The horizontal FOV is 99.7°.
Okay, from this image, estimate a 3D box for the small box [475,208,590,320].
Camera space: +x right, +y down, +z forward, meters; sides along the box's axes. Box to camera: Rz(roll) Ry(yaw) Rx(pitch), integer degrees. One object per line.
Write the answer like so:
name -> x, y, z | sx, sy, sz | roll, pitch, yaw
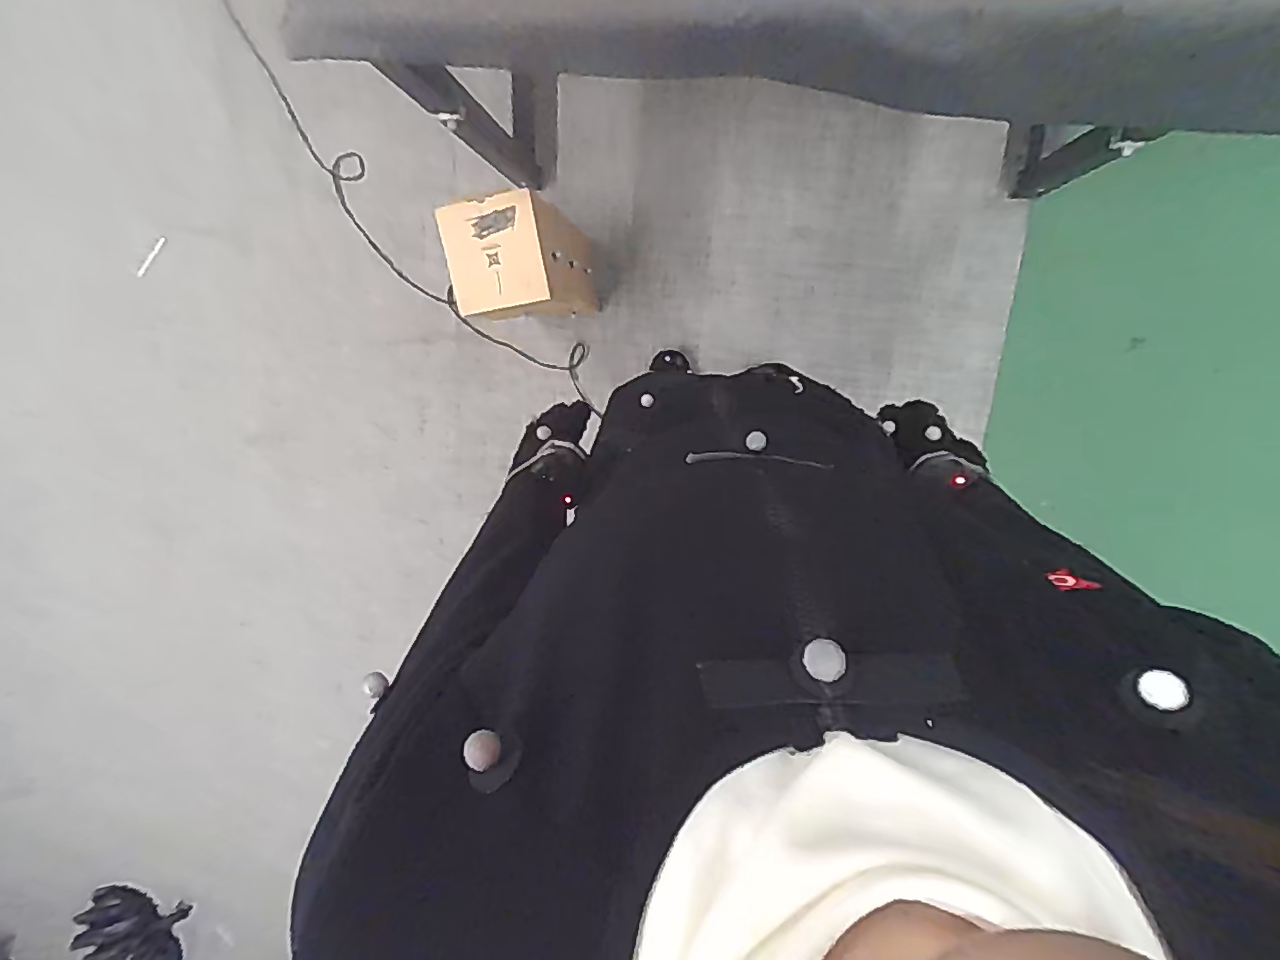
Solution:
small box -> -0.215, -0.440, 1.134 | 0.168, 0.176, 0.179 | -11, 101, 12
